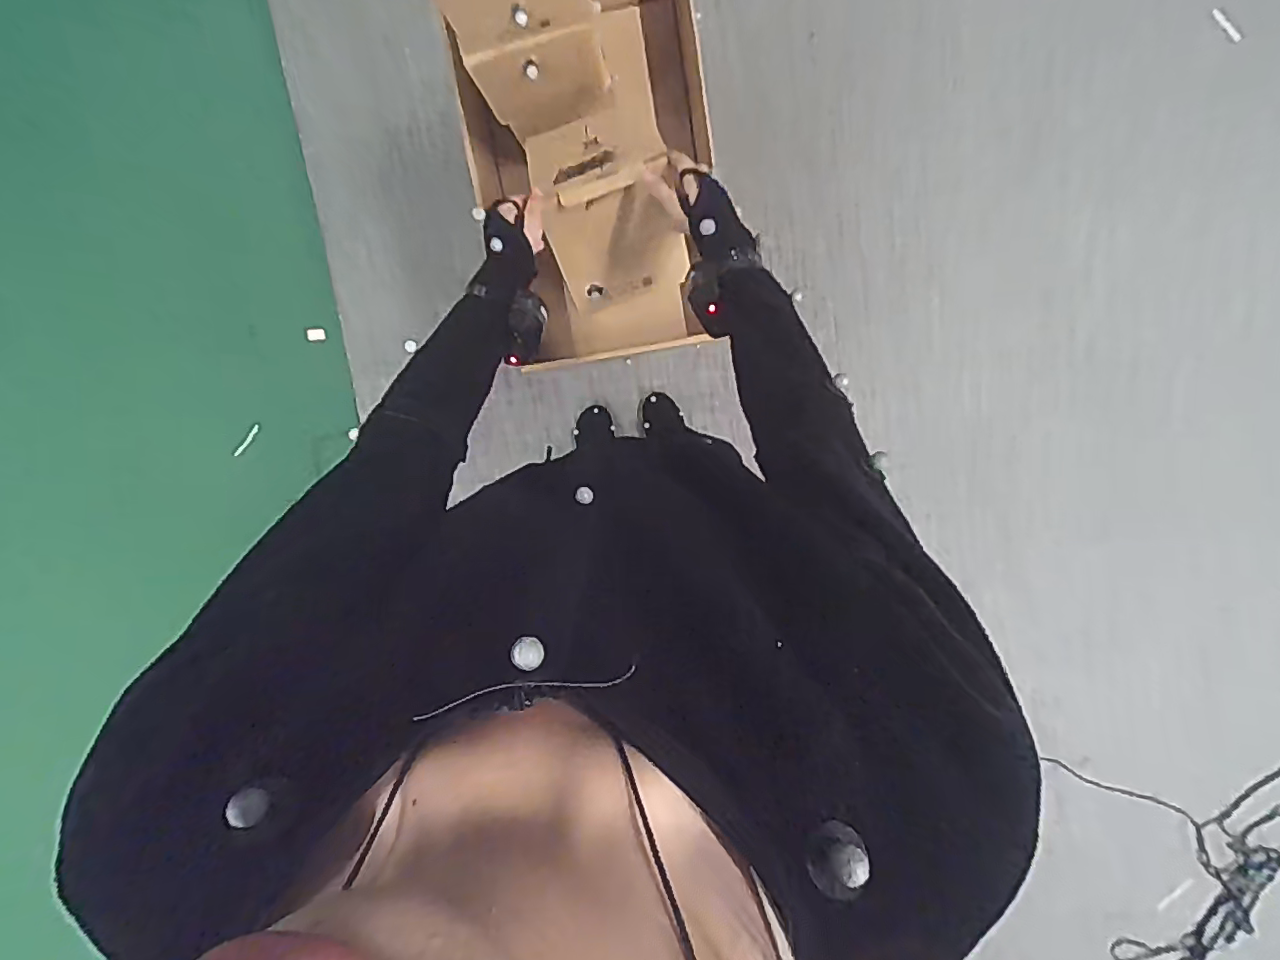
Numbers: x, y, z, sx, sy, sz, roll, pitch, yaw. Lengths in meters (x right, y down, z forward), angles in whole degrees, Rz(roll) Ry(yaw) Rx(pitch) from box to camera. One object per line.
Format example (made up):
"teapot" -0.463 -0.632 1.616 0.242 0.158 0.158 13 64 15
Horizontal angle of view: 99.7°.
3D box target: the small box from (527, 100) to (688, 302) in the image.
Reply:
"small box" -0.040 -0.362 0.726 0.168 0.179 0.176 -16 142 5

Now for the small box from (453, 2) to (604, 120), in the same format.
"small box" -0.153 -0.641 0.748 0.179 0.176 0.168 -13 100 6

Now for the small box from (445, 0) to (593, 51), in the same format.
"small box" -0.156 -0.623 0.583 0.168 0.176 0.179 -12 100 6
